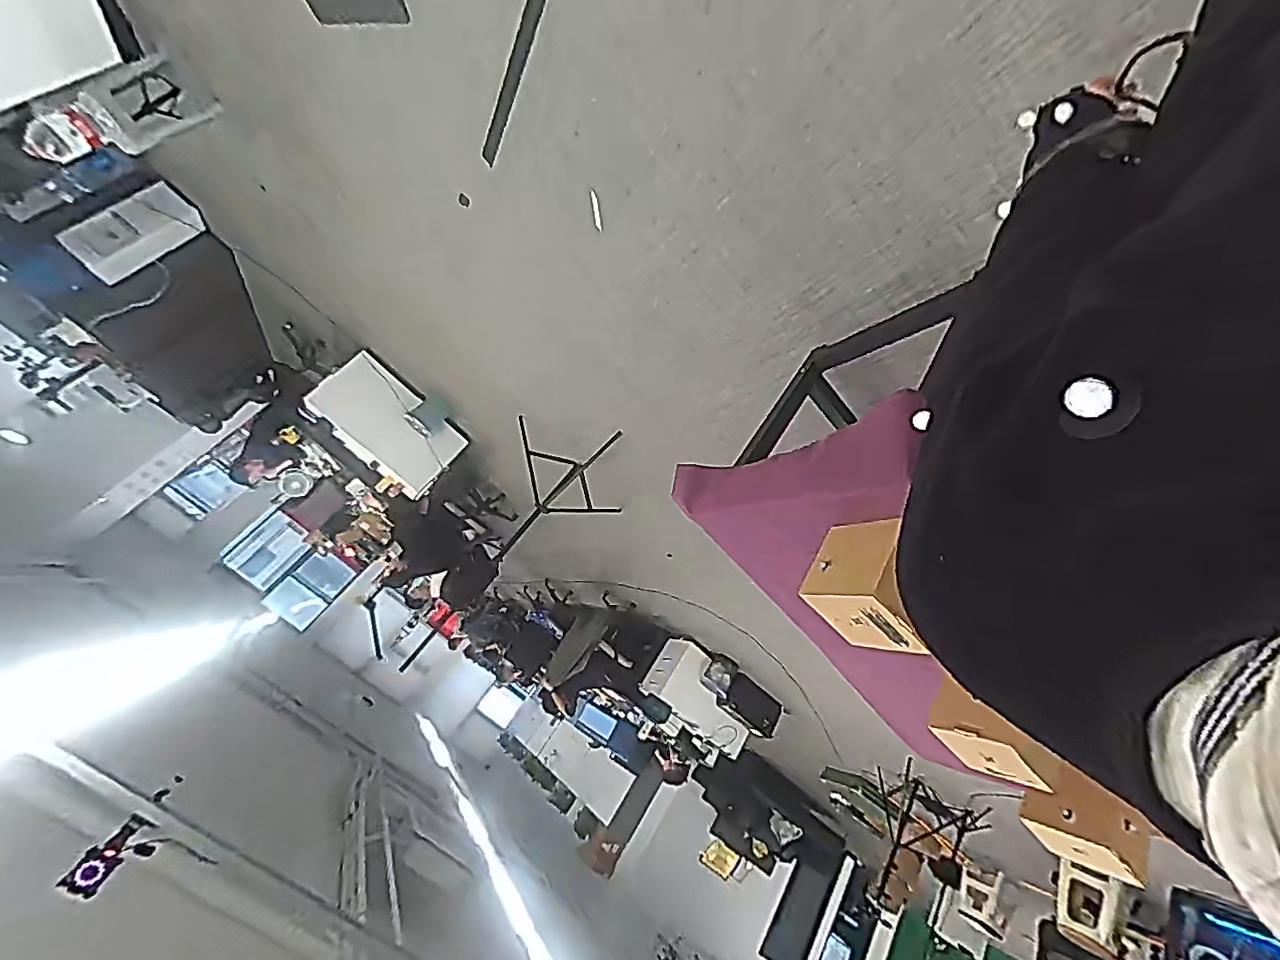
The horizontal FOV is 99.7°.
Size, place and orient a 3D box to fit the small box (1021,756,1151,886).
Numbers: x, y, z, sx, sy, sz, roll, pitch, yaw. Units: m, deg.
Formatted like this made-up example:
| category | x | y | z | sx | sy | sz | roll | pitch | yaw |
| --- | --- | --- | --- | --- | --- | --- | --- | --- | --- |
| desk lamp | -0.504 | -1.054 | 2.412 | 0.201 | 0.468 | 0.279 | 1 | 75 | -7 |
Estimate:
| category | x | y | z | sx | sy | sz | roll | pitch | yaw |
| --- | --- | --- | --- | --- | --- | --- | --- | --- | --- |
| small box | 1.011 | 0.754 | 1.221 | 0.168 | 0.176 | 0.179 | 46 | 154 | -15 |

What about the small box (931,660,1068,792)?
| category | x | y | z | sx | sy | sz | roll | pitch | yaw |
| --- | --- | --- | --- | --- | --- | --- | --- | --- | --- |
| small box | 0.746 | 0.498 | 1.121 | 0.179 | 0.176 | 0.168 | 45 | 153 | -16 |
